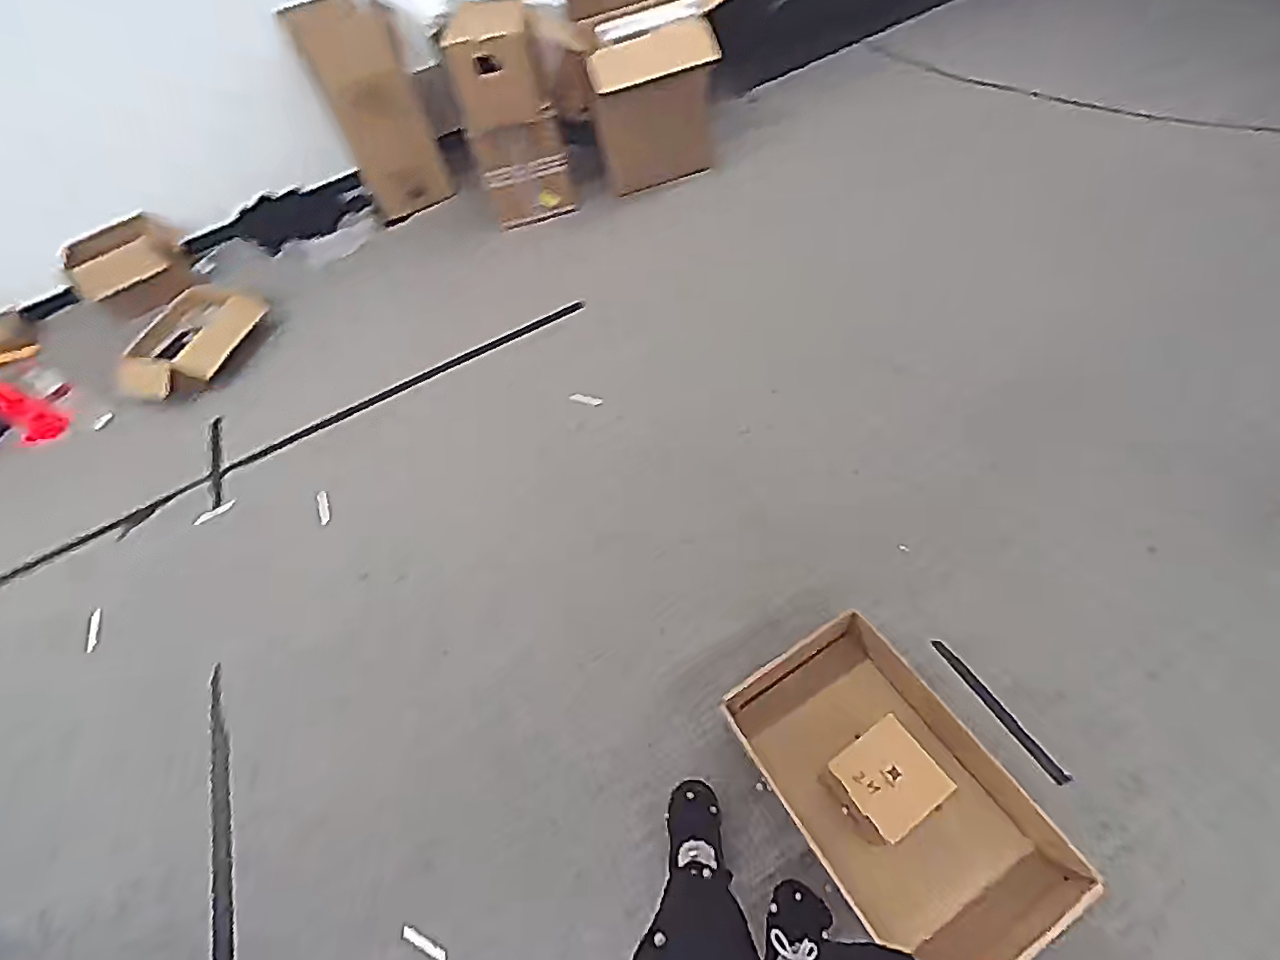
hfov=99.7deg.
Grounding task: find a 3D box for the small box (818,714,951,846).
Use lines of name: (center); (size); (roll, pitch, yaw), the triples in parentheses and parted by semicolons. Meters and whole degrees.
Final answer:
small box: (0.492, 0.622, 1.122); (0.179, 0.176, 0.168); (-32, 56, -11)
